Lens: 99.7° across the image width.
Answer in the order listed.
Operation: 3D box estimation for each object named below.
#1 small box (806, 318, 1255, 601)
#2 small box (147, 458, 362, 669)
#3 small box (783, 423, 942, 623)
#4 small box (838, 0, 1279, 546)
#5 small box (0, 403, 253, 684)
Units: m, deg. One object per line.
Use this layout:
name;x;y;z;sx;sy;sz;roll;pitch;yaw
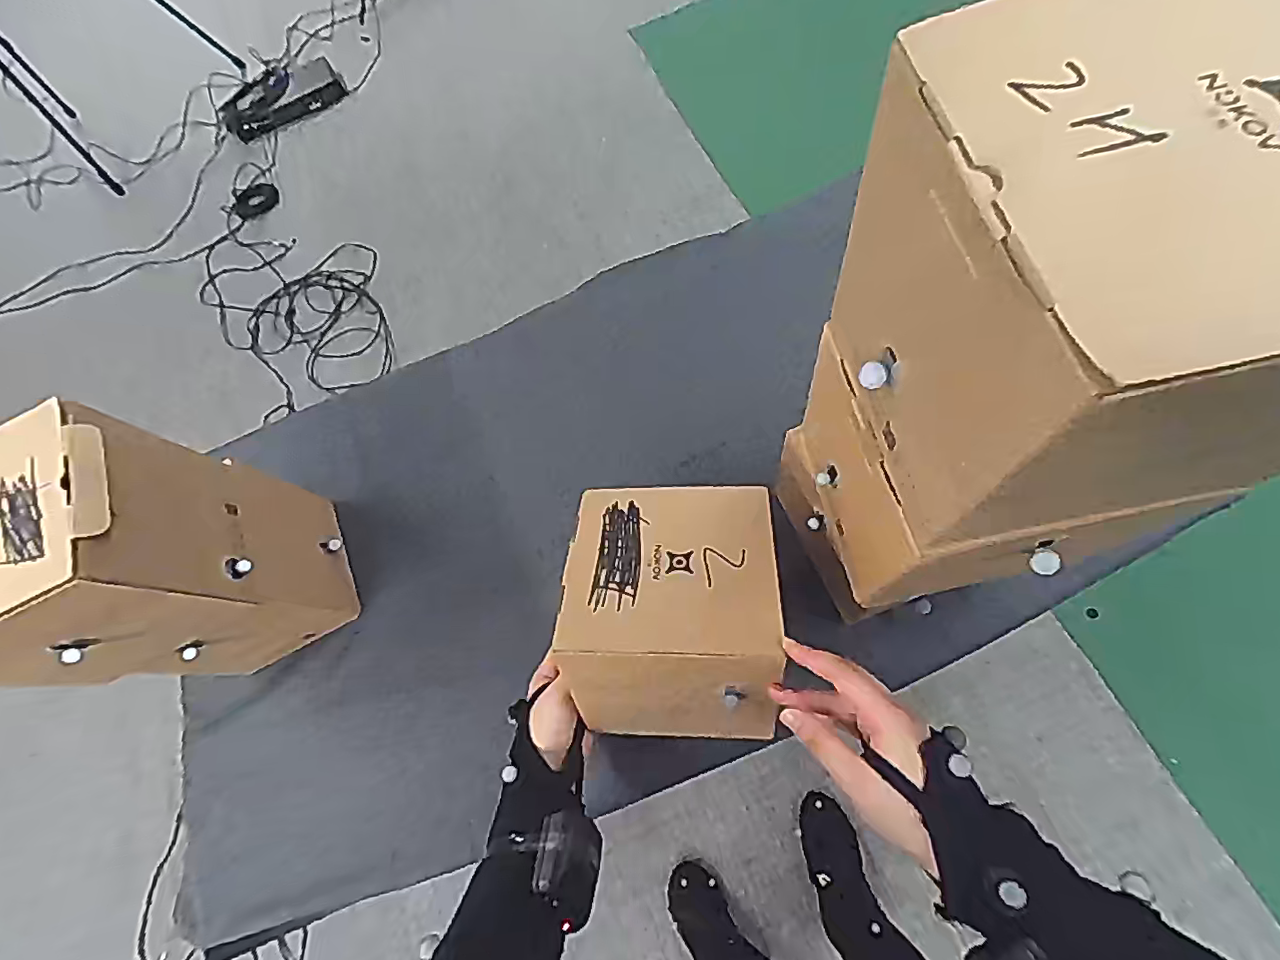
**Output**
small box;0.233;-0.019;0.387;0.179;0.176;0.168;-14;67;6
small box;-0.468;0.109;0.641;0.168;0.176;0.179;-28;68;-1
small box;0.257;0.026;0.542;0.168;0.176;0.179;-24;67;2
small box;0.206;-0.081;0.237;0.179;0.176;0.168;-13;67;7
small box;-0.486;0.067;0.482;0.179;0.176;0.168;-27;69;0
